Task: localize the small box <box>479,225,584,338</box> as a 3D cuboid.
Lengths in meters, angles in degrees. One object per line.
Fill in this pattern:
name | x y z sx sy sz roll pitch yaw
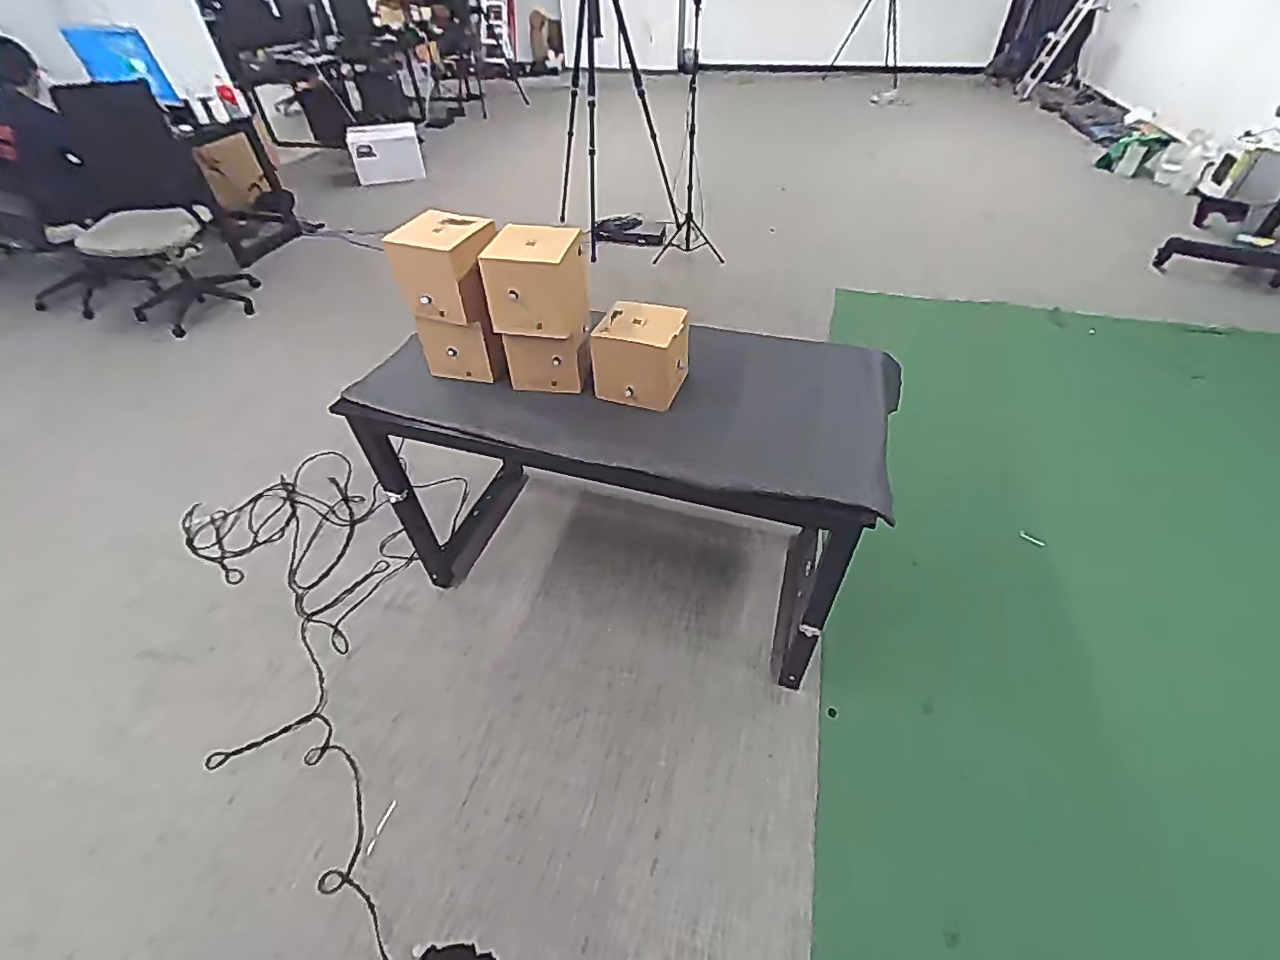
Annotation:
small box | -0.218 -0.419 1.145 0.168 0.176 0.179 7 45 6
